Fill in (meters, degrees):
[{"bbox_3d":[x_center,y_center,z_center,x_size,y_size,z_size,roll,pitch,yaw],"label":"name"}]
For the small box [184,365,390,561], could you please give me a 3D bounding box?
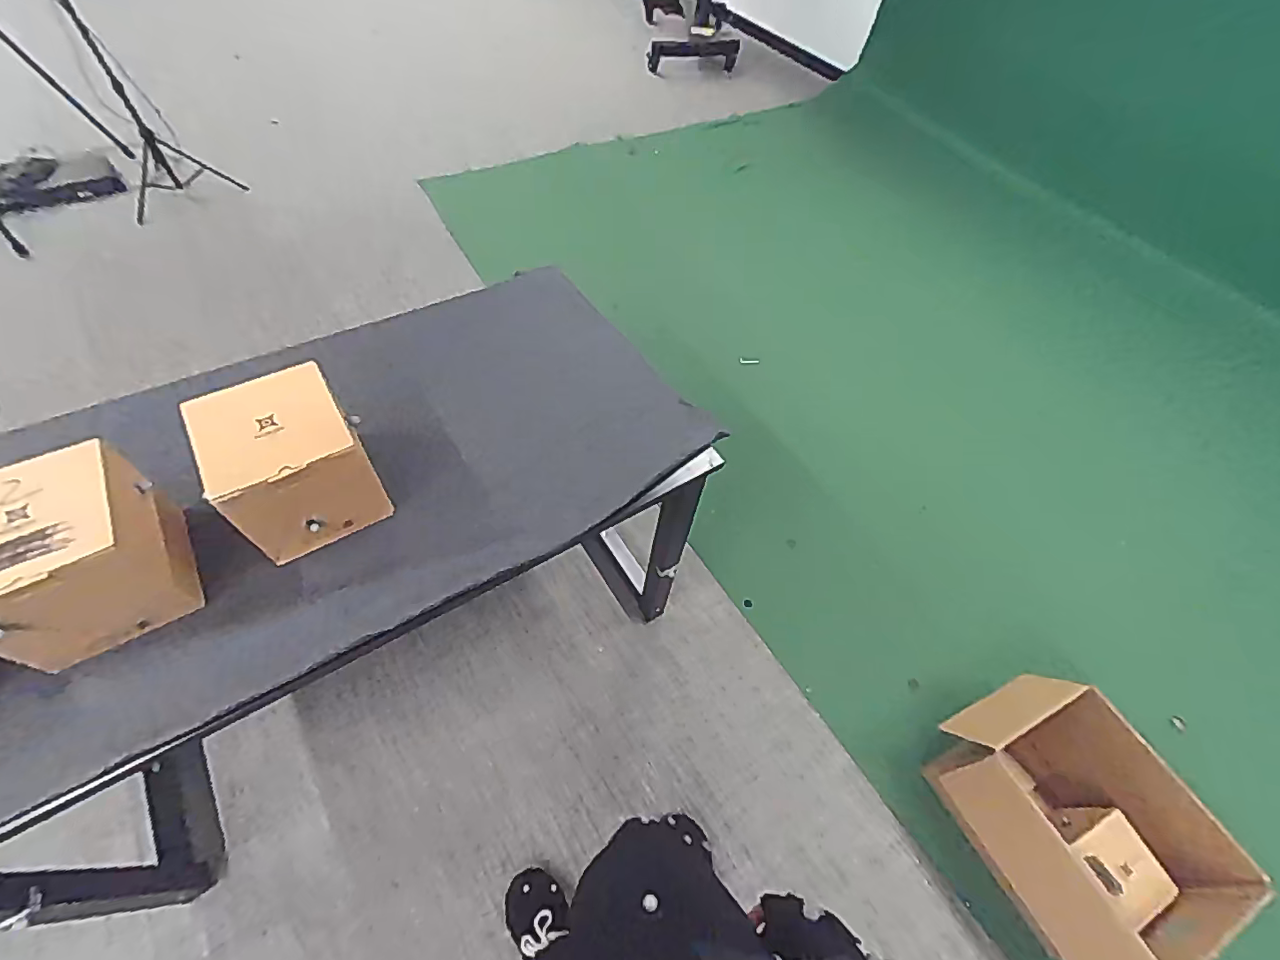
[{"bbox_3d":[-0.474,-0.021,0.746,0.168,0.176,0.179,-27,63,-23],"label":"small box"}]
